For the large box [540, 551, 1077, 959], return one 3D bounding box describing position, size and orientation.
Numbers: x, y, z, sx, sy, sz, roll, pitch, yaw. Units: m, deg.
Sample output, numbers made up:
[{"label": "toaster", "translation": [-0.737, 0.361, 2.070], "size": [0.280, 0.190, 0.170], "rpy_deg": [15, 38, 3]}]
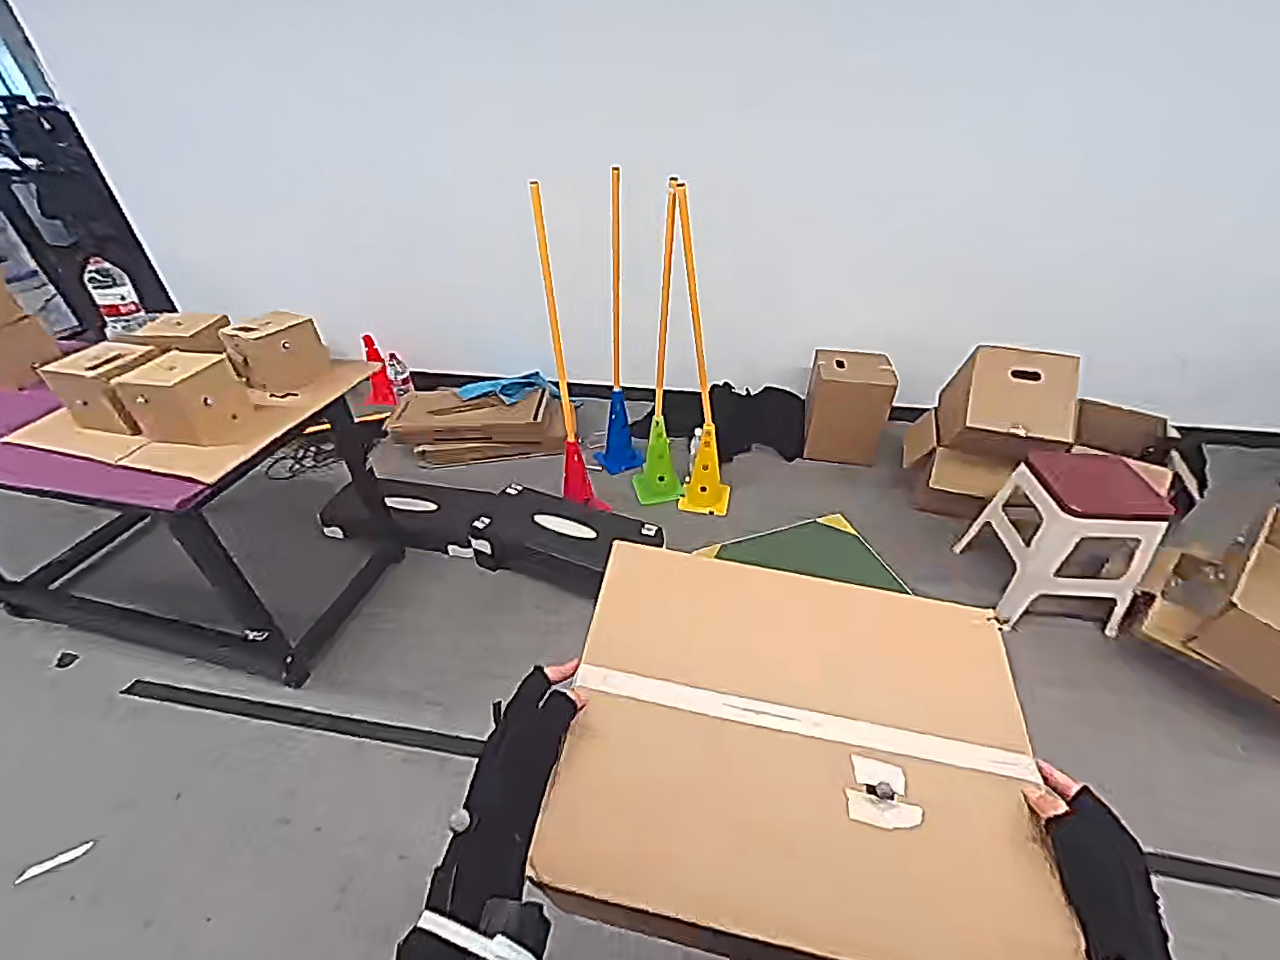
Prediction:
[{"label": "large box", "translation": [0.134, 0.318, 0.602], "size": [0.408, 0.320, 0.320], "rpy_deg": [10, 49, 5]}]
